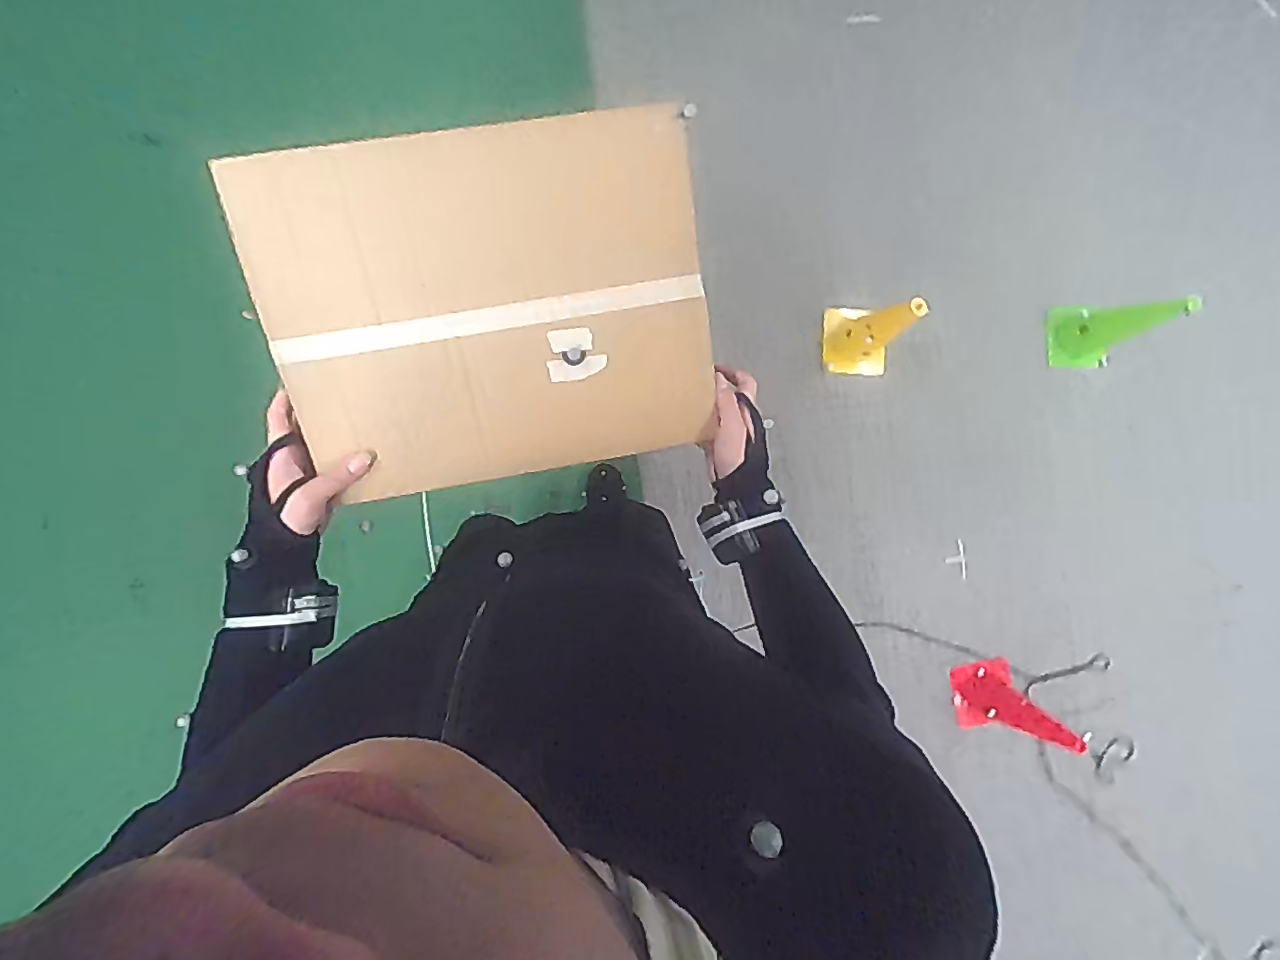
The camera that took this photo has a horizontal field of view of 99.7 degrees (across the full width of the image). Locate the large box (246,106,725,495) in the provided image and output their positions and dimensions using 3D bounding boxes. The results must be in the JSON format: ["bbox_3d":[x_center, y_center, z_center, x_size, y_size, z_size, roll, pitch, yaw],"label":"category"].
[{"bbox_3d":[-0.145,-0.203,0.662,0.408,0.320,0.320,-10,108,-5],"label":"large box"}]

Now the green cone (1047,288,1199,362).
[{"bbox_3d":[1.430,-0.485,1.582,0.202,0.368,0.200,-1,90,-3],"label":"green cone"}]
